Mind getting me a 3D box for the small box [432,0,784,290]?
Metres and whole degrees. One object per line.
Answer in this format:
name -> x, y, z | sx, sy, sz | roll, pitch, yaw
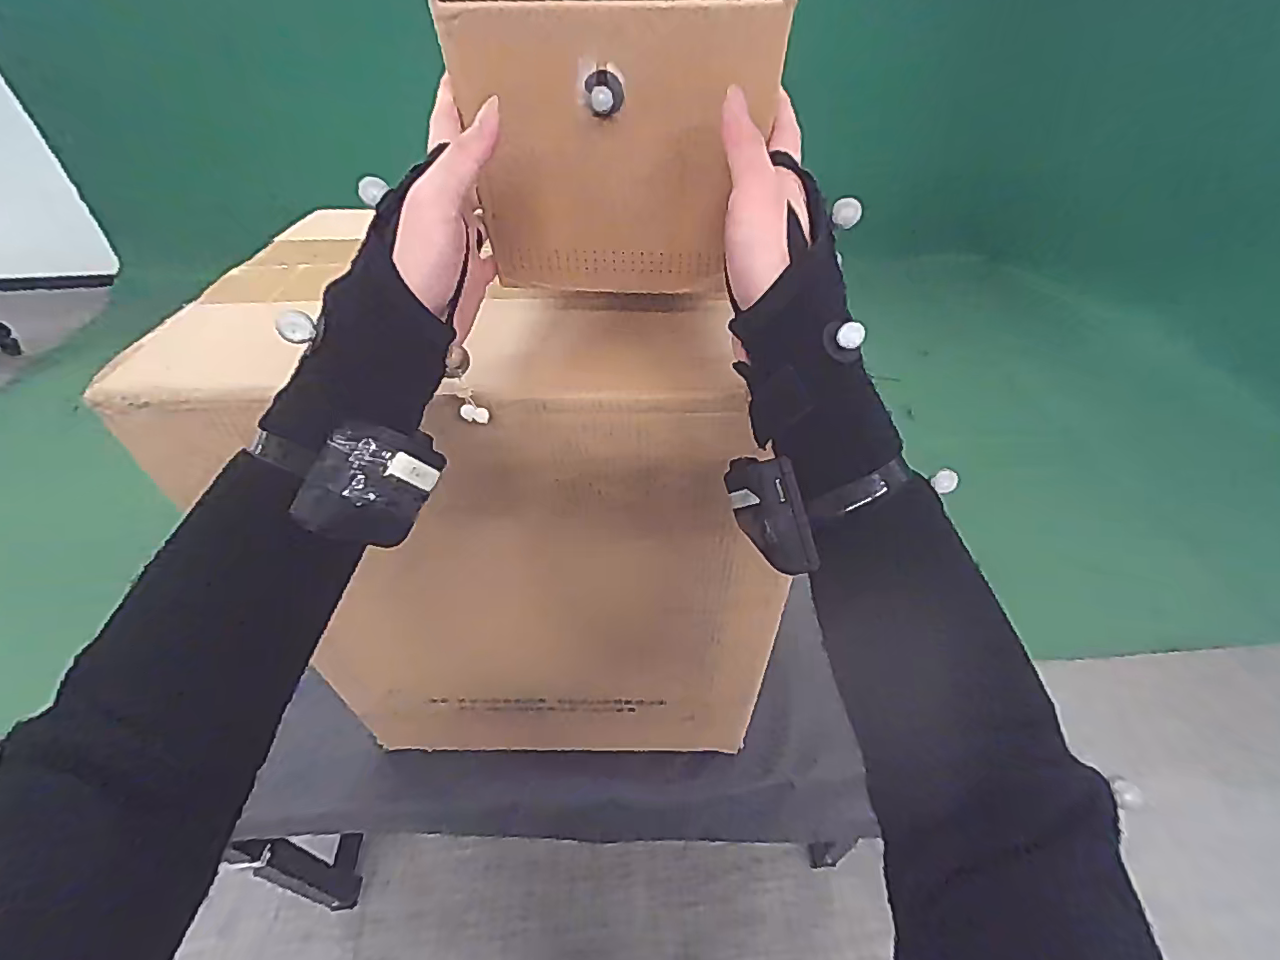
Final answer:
small box -> -0.012, -0.250, 0.370 | 0.179, 0.176, 0.168 | 3, 56, 1
